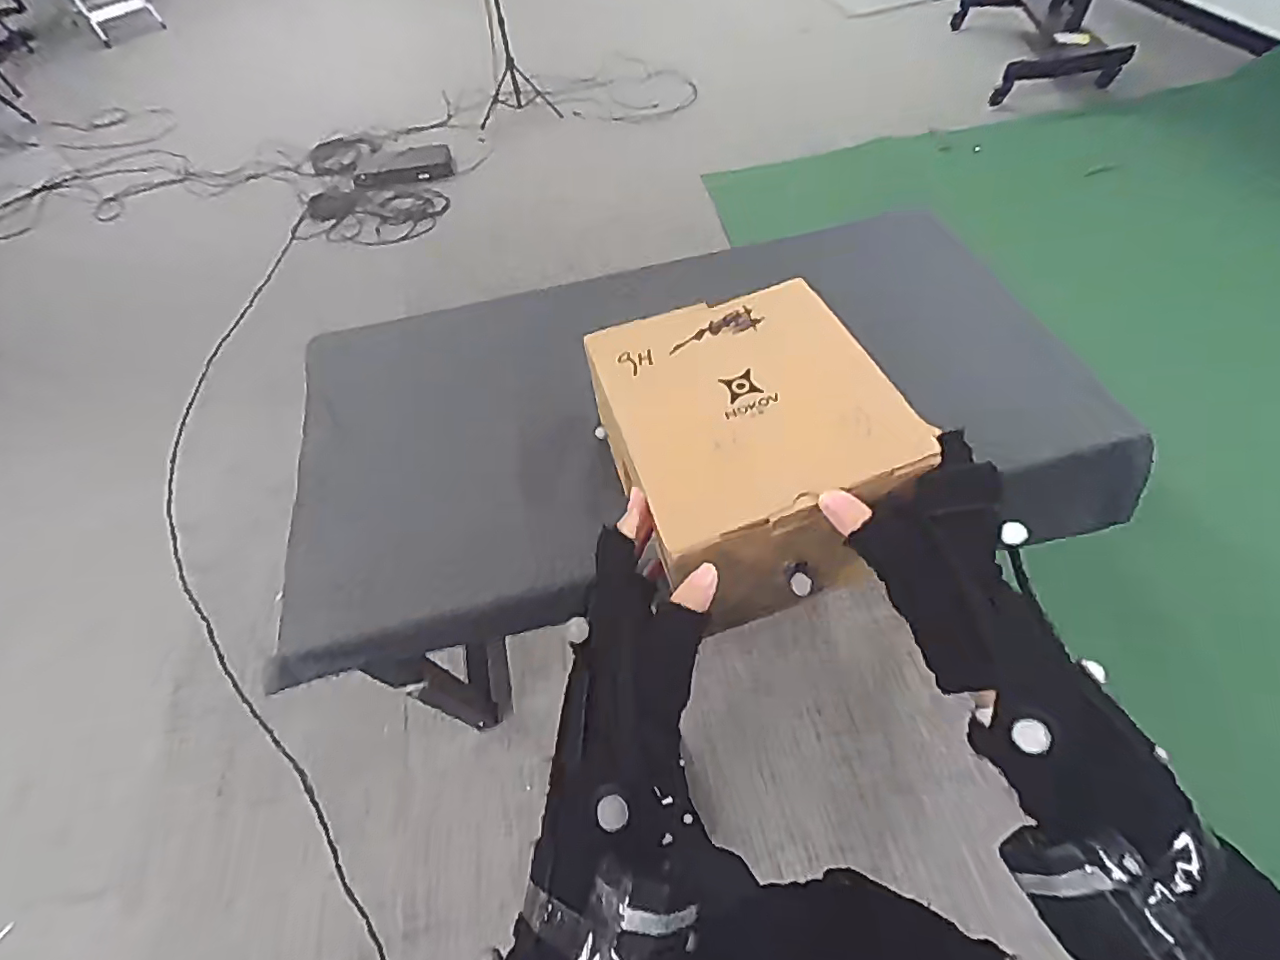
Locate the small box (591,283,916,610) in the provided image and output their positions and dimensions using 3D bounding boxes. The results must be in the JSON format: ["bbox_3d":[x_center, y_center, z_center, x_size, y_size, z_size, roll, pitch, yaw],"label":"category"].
[{"bbox_3d":[0.077,-0.013,0.428,0.168,0.176,0.179,-20,57,-2],"label":"small box"}]

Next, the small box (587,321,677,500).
[{"bbox_3d":[0.037,-0.097,0.763,0.179,0.176,0.168,-16,56,-6],"label":"small box"}]
